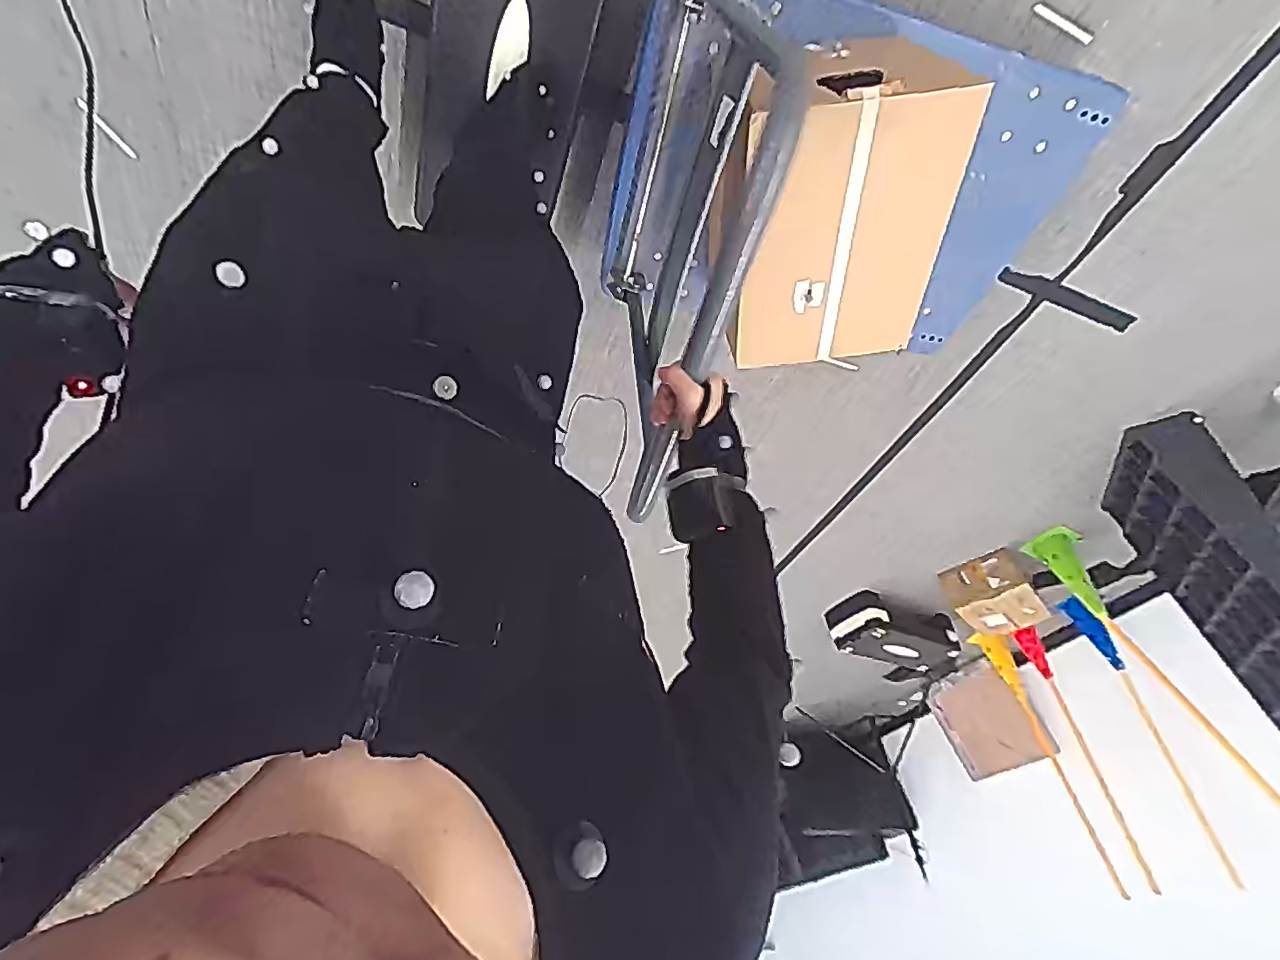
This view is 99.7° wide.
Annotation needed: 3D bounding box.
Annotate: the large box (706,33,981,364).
[{"bbox_3d":[0.294,-0.472,0.935,0.320,0.320,0.408,-6,139,1],"label":"large box"}]
